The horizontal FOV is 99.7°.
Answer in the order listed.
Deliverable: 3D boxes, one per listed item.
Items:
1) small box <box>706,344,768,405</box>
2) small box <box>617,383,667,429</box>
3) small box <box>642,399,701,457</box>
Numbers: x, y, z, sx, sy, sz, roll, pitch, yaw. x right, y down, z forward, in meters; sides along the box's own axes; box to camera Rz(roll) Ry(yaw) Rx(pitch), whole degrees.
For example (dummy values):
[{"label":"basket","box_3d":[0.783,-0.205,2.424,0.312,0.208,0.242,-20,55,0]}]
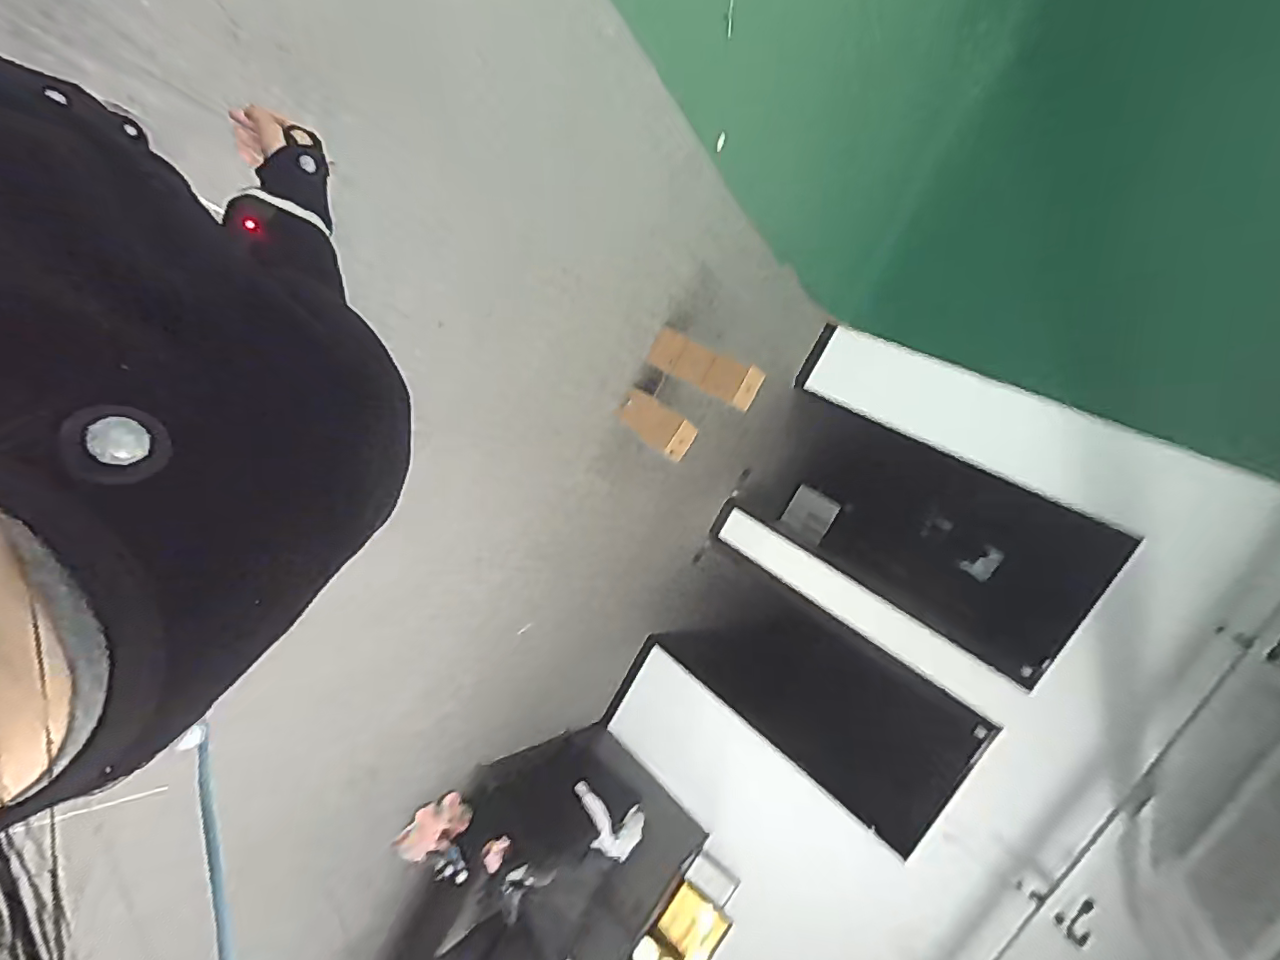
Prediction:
[{"label":"small box","box_3d":[0.399,-0.441,2.261,0.168,0.176,0.179,11,108,-57]},{"label":"small box","box_3d":[0.028,-0.325,2.491,0.168,0.176,0.179,-58,148,1]},{"label":"small box","box_3d":[0.136,-0.235,2.404,0.179,0.176,0.168,-58,148,1]}]
